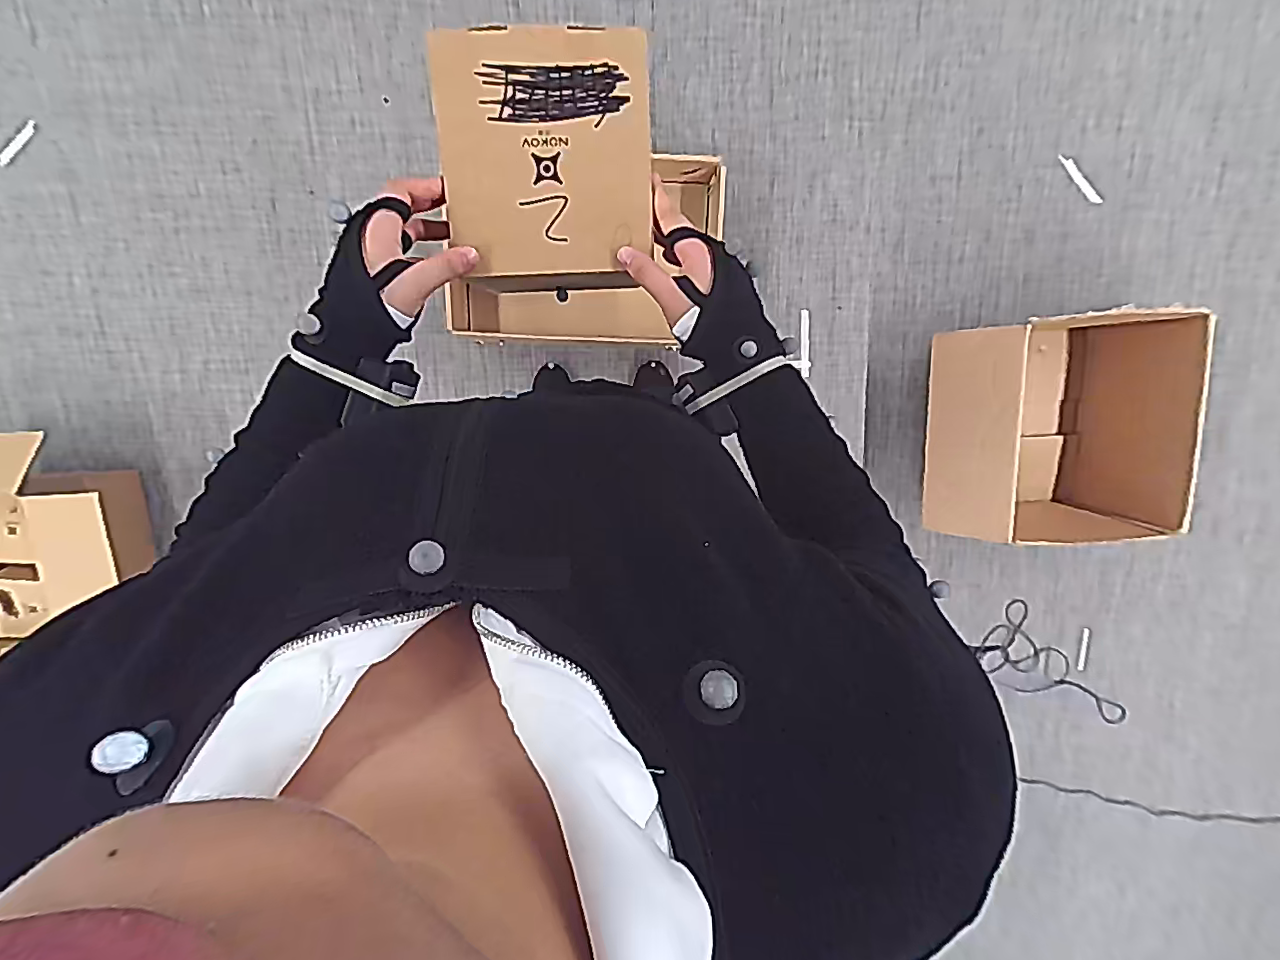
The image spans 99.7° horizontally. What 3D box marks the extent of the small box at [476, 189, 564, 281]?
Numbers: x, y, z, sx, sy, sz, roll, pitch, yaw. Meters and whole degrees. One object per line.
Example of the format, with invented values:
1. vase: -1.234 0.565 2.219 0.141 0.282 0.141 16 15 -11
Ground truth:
1. small box: -0.271 -0.559 1.254 0.179 0.176 0.168 1 104 -4
